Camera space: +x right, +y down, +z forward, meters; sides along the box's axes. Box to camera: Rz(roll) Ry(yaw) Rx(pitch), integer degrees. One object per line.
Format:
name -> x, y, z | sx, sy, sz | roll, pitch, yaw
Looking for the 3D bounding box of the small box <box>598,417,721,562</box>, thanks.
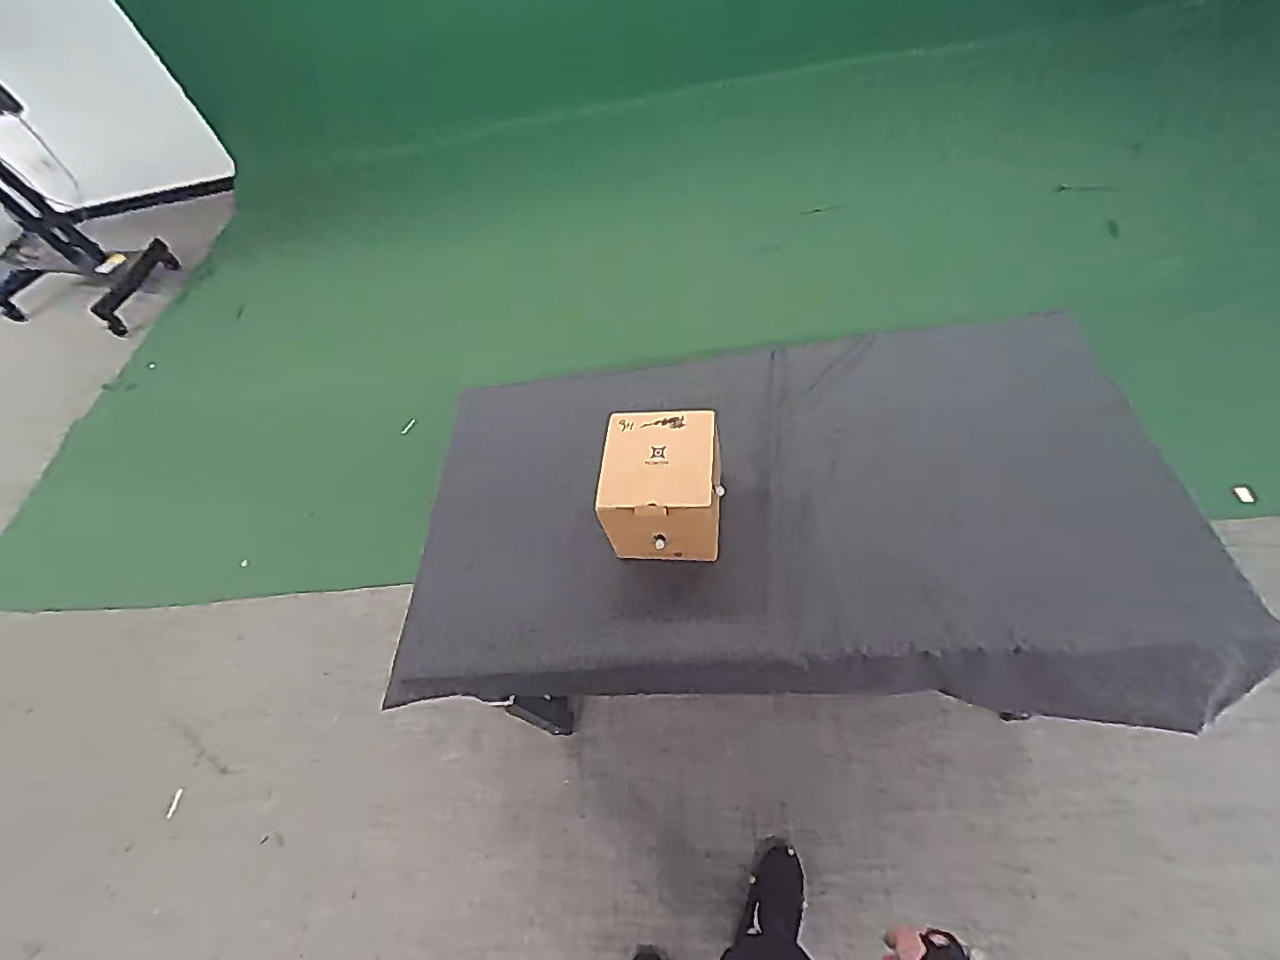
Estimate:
small box -> 0.041, 0.024, 0.864 | 0.168, 0.176, 0.179 | -4, 55, 11
